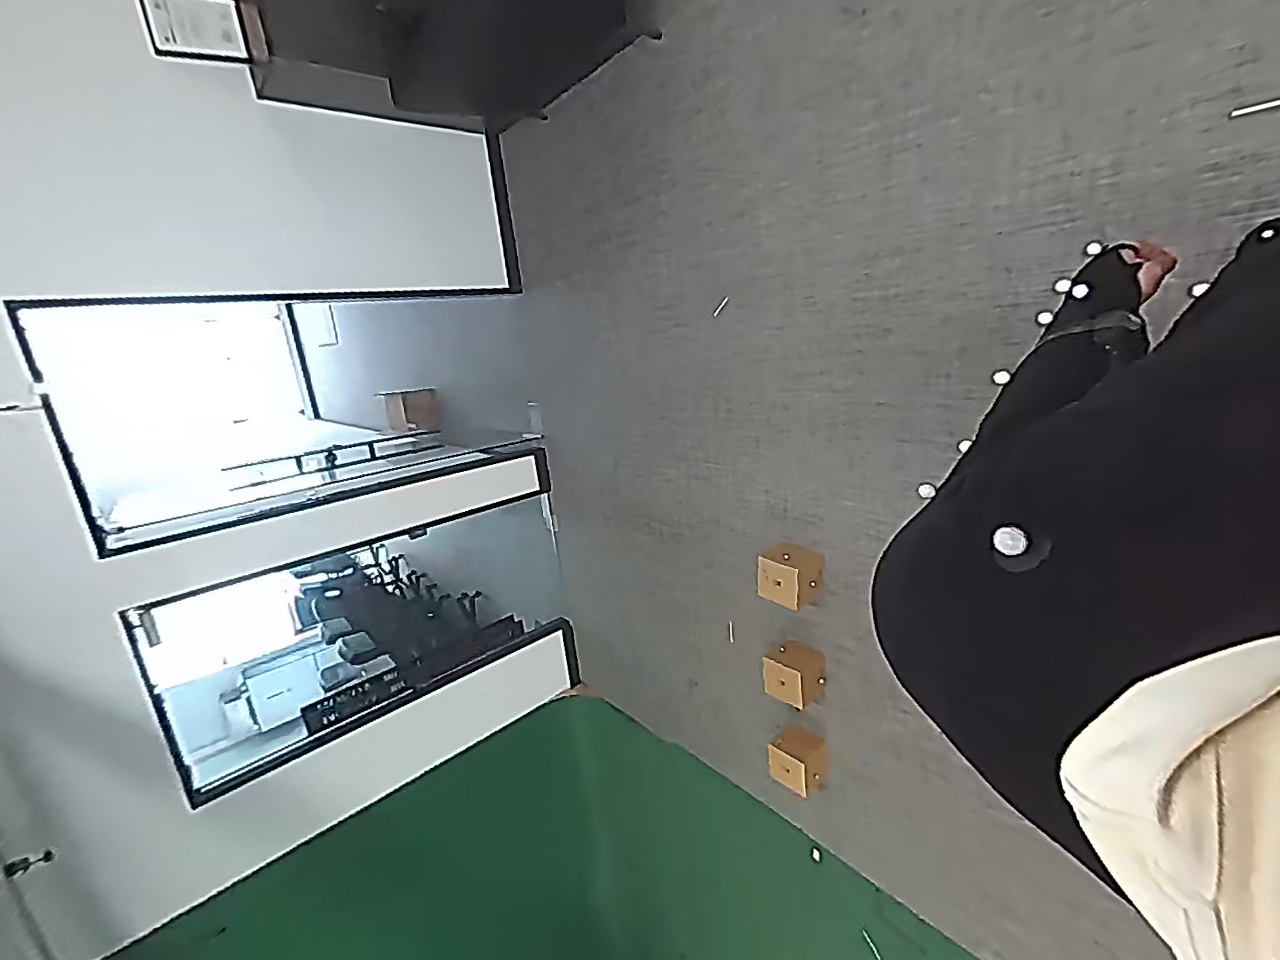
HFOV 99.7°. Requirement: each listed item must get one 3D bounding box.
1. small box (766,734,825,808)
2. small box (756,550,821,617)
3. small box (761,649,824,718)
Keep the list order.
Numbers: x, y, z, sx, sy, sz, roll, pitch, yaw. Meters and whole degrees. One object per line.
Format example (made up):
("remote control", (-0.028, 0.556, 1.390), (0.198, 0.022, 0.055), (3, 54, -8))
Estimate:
("small box", (0.637, 1.168, 2.191), (0.179, 0.176, 0.168), (10, 111, 50))
("small box", (0.552, 0.376, 2.002), (0.179, 0.176, 0.168), (16, 114, 47))
("small box", (0.594, 0.781, 2.102), (0.179, 0.176, 0.168), (10, 111, 49))
